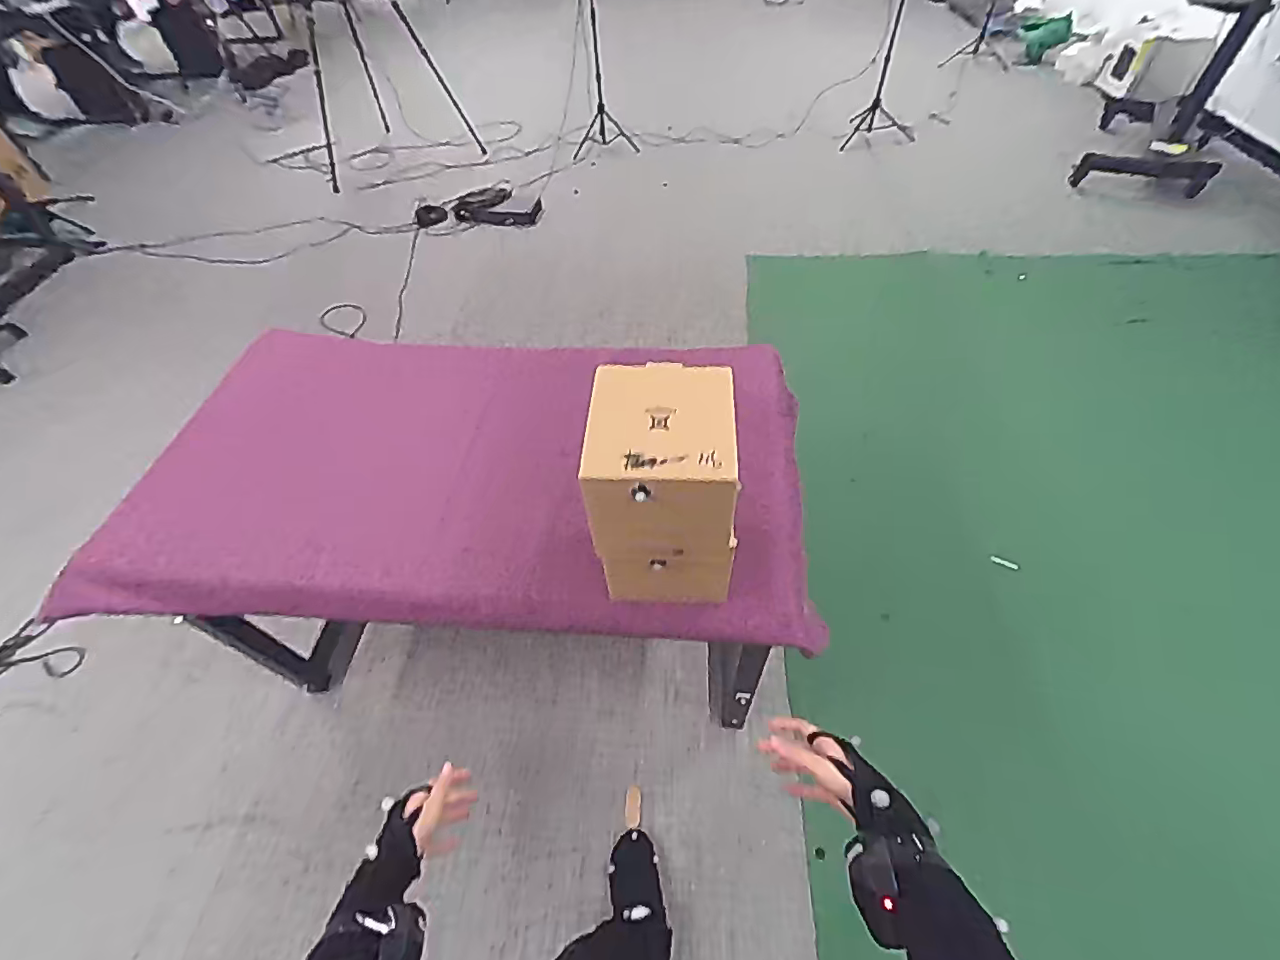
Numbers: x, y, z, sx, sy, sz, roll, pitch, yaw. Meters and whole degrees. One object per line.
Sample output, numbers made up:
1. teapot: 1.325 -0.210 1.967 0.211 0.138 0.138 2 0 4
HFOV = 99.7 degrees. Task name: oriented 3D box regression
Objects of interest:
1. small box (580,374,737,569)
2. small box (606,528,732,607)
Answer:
1. small box: 0.029 -0.011 0.669 0.168 0.176 0.179 1 51 5
2. small box: 0.042 0.079 0.807 0.179 0.176 0.168 0 52 4
